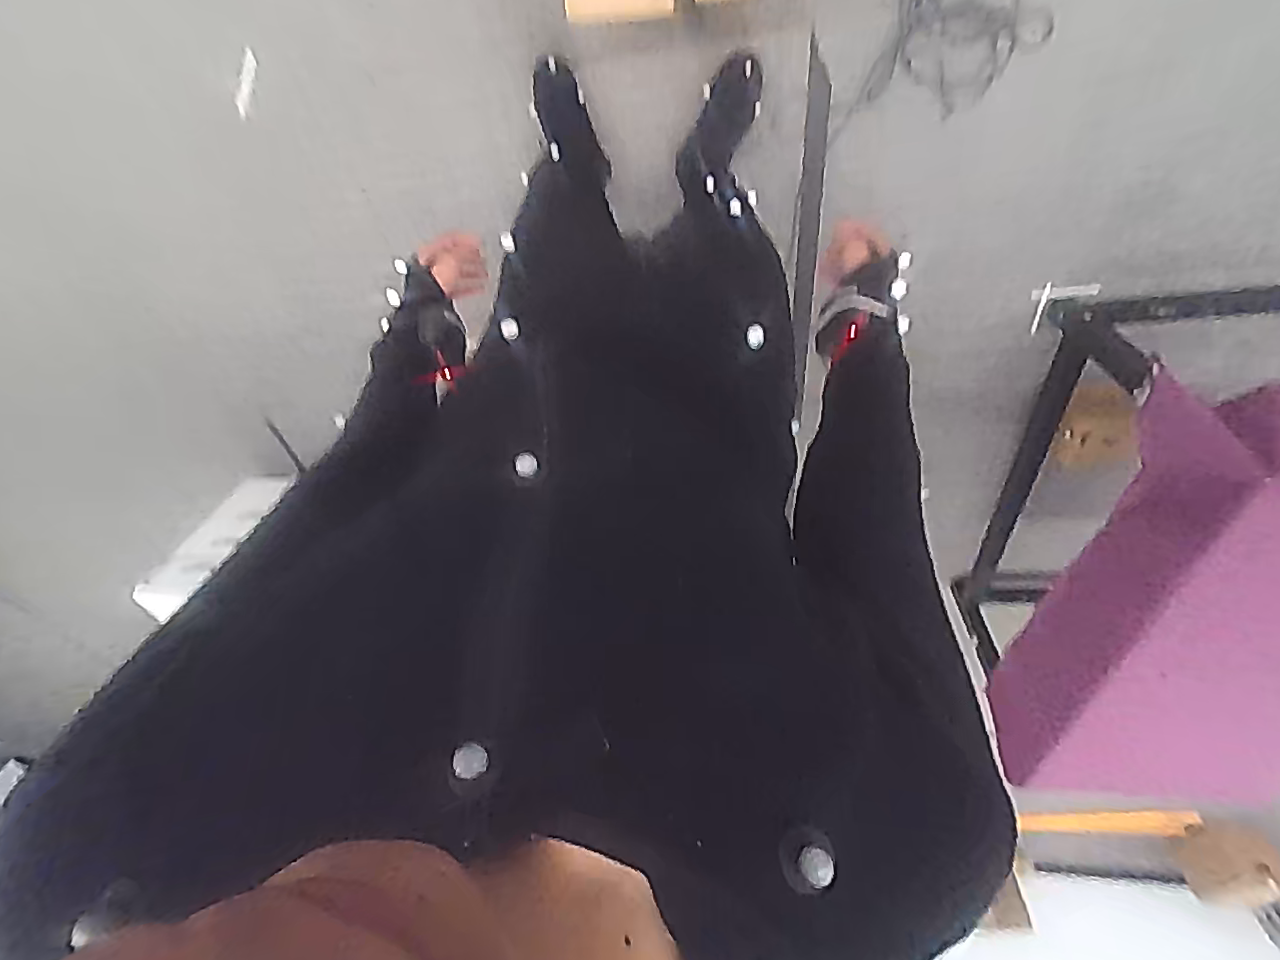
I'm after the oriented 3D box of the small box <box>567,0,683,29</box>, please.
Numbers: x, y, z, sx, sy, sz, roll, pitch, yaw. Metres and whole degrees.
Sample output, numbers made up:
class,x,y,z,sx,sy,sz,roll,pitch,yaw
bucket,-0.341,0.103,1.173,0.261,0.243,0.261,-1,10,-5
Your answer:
class,x,y,z,sx,sy,sz,roll,pitch,yaw
small box,-0.022,-0.842,0.871,0.179,0.176,0.168,4,131,9
